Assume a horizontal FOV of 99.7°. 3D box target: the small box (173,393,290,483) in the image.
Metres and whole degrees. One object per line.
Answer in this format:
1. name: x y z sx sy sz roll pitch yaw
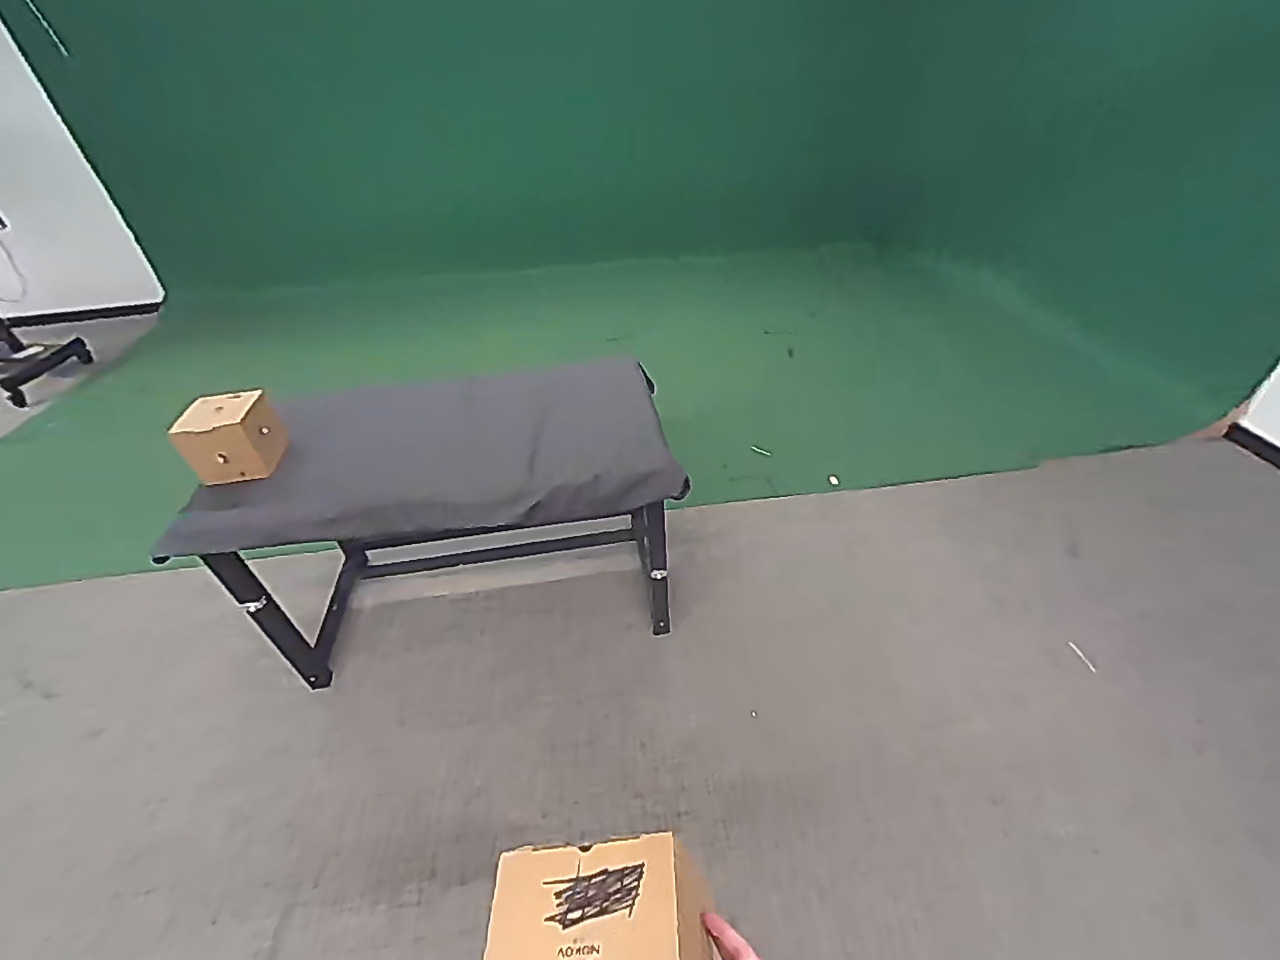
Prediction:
1. small box: -1.065 -0.106 1.431 0.168 0.176 0.179 -8 40 -7
